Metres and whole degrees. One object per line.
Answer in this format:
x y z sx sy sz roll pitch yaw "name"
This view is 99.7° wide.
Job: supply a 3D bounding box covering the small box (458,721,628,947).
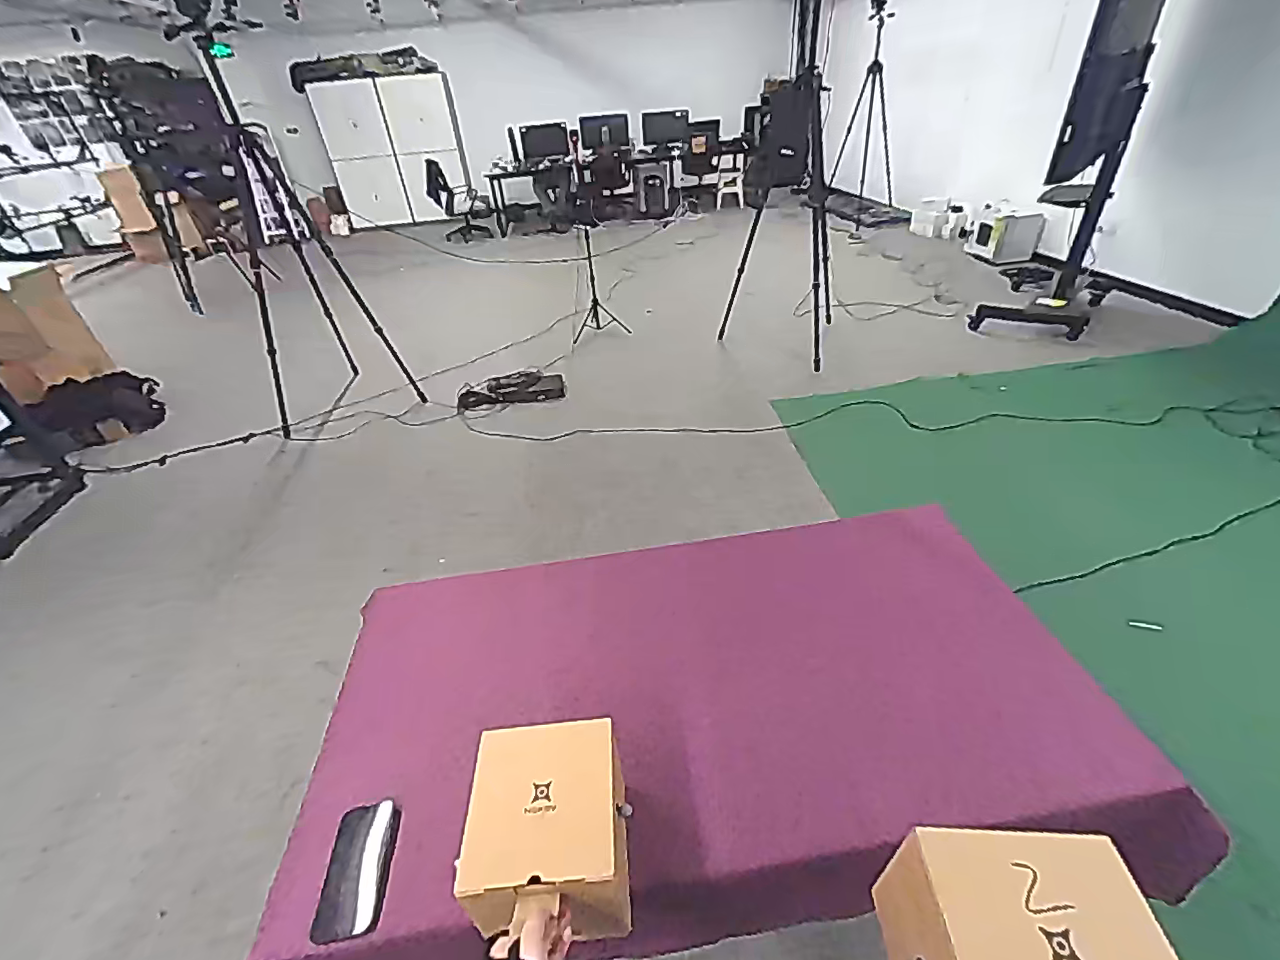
-0.103 0.425 0.657 0.168 0.176 0.179 -5 35 -1 "small box"
